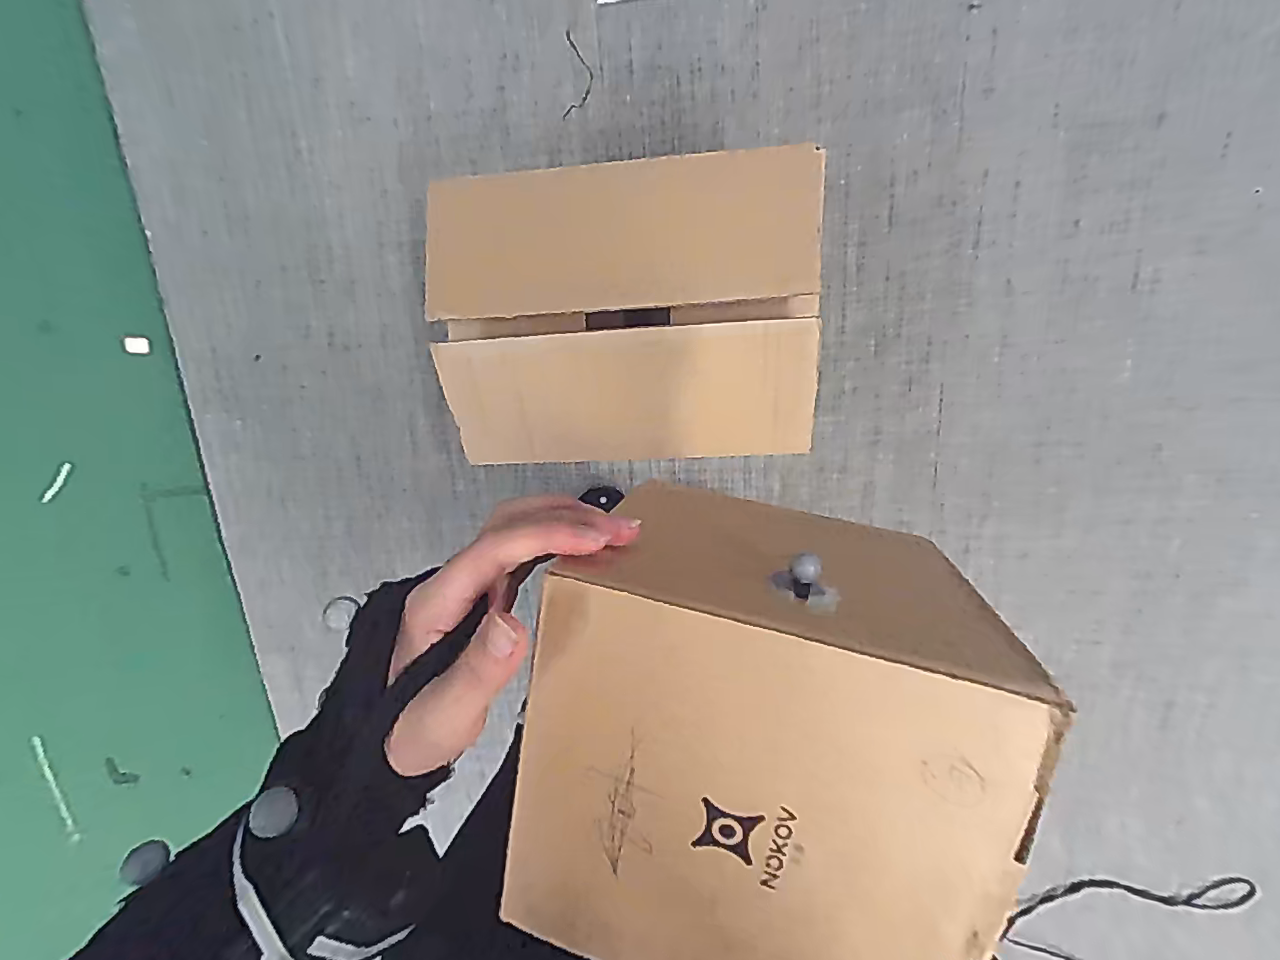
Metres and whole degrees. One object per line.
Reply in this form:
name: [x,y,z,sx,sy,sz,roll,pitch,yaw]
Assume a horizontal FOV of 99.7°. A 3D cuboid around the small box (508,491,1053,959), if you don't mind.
small box: [0.055,0.111,0.282,0.179,0.176,0.168,12,103,12]
